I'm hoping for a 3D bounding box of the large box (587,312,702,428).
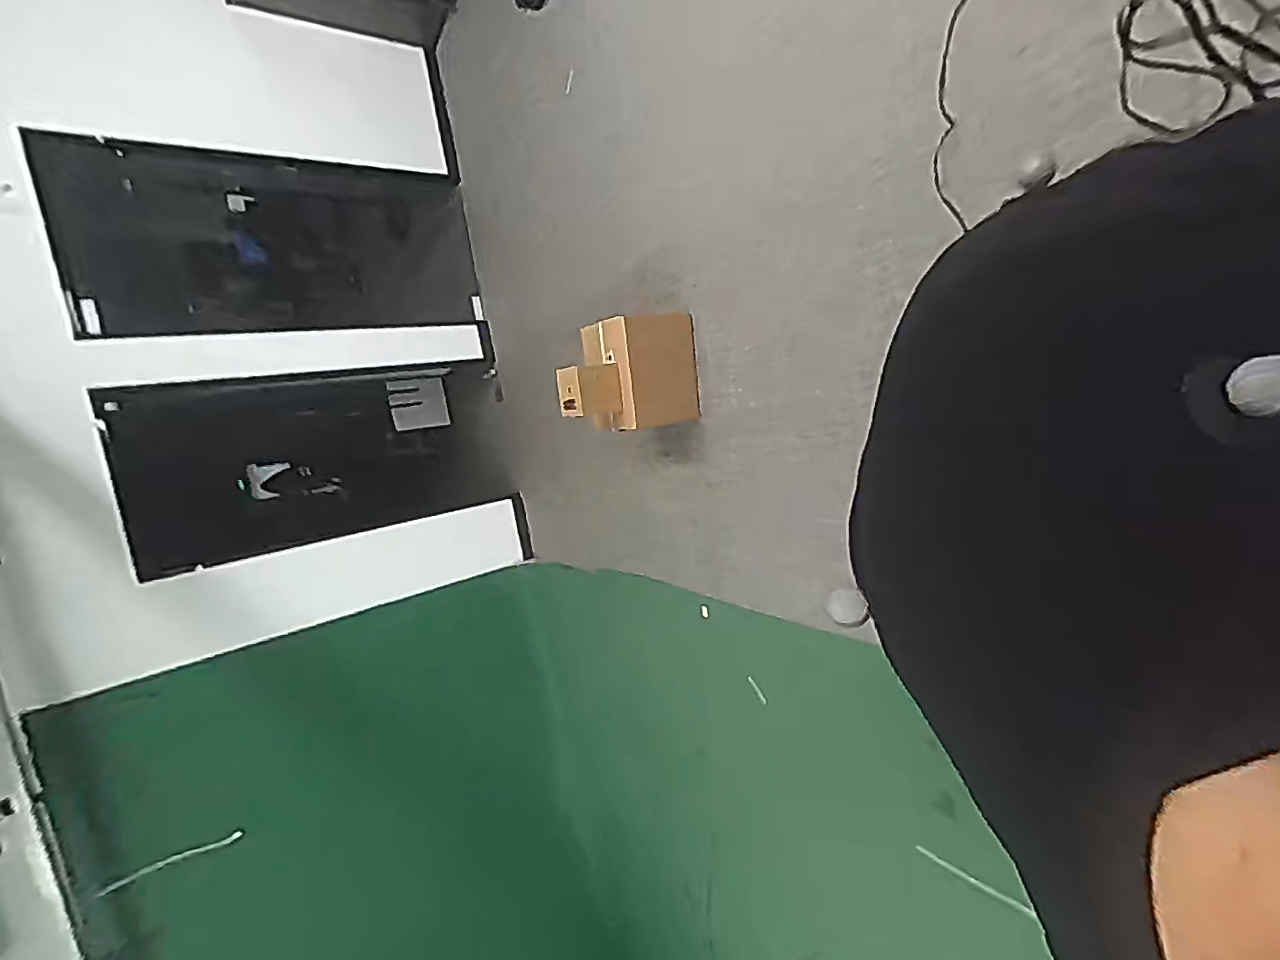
[{"bbox_3d":[0.019,-0.421,2.106,0.320,0.320,0.408,8,106,54],"label":"large box"}]
